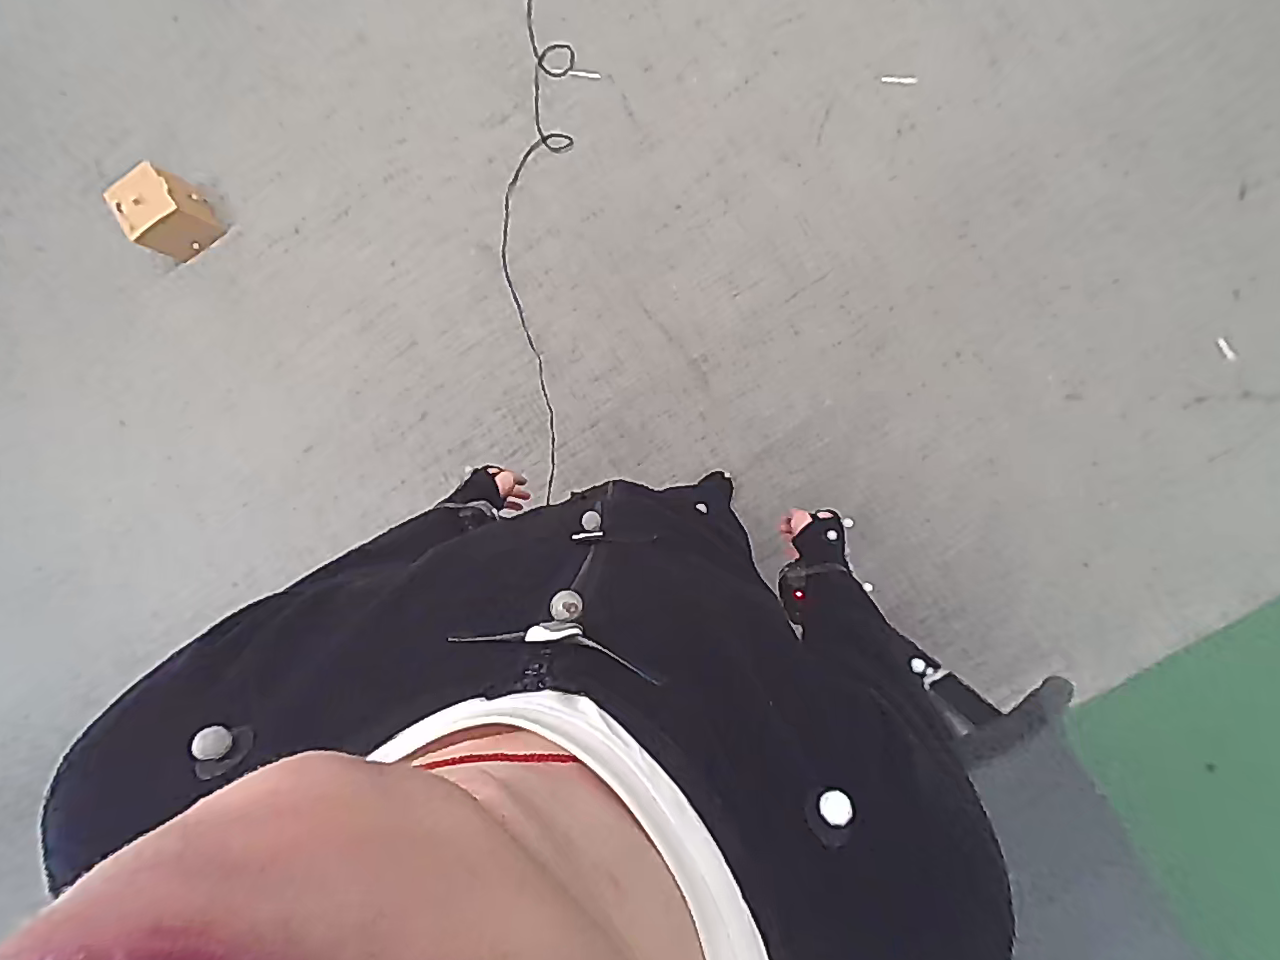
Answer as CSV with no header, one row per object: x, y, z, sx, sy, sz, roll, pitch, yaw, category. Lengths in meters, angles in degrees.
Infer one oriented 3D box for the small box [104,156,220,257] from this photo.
-1.399,-0.801,1.603,0.179,0.176,0.168,-31,88,6,small box
